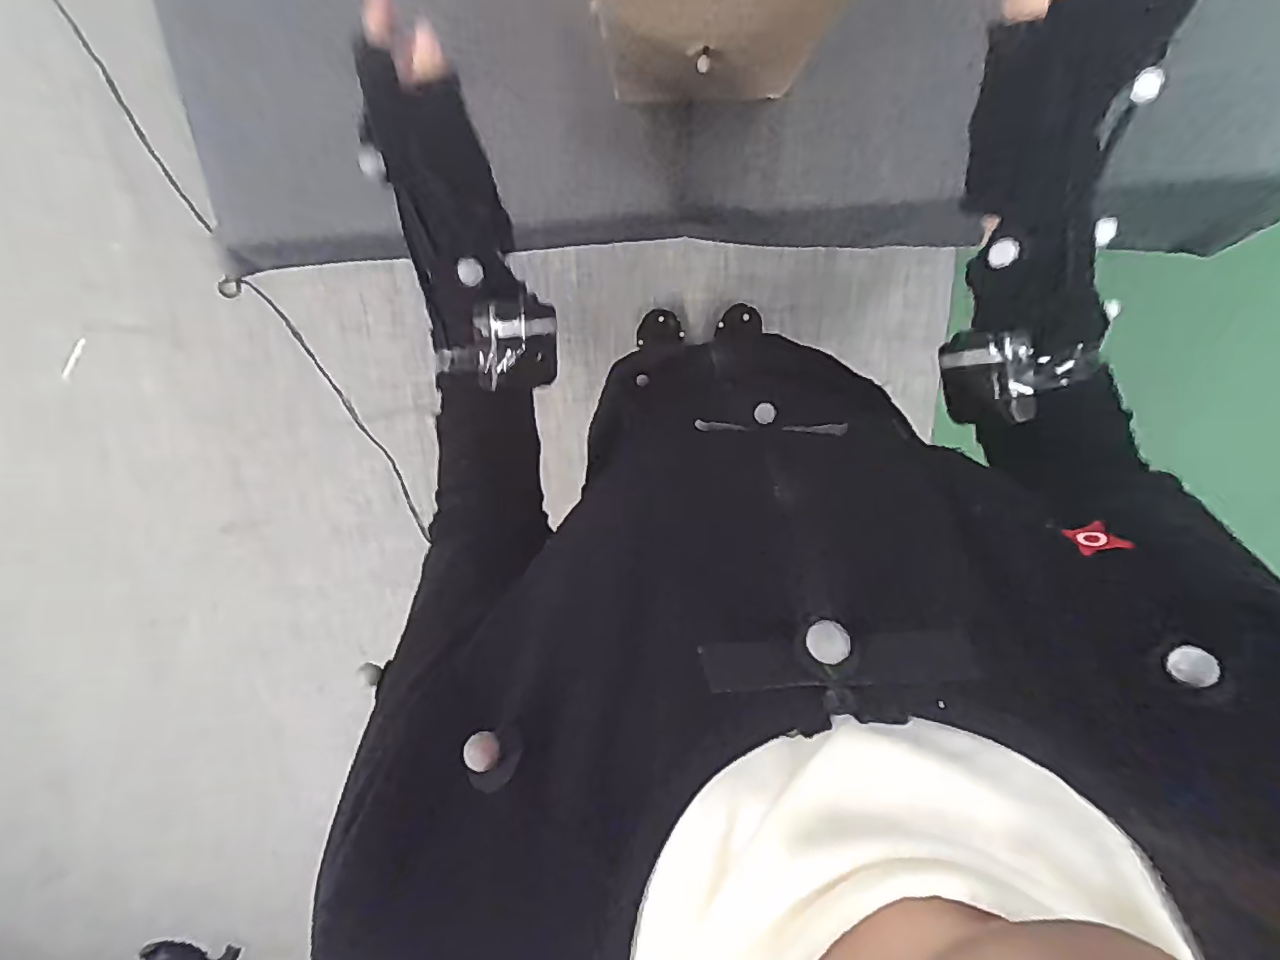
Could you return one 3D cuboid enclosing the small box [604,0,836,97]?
[{"bbox_3d":[0.062,-0.448,0.459,0.179,0.176,0.168,-1,110,3],"label":"small box"}]
